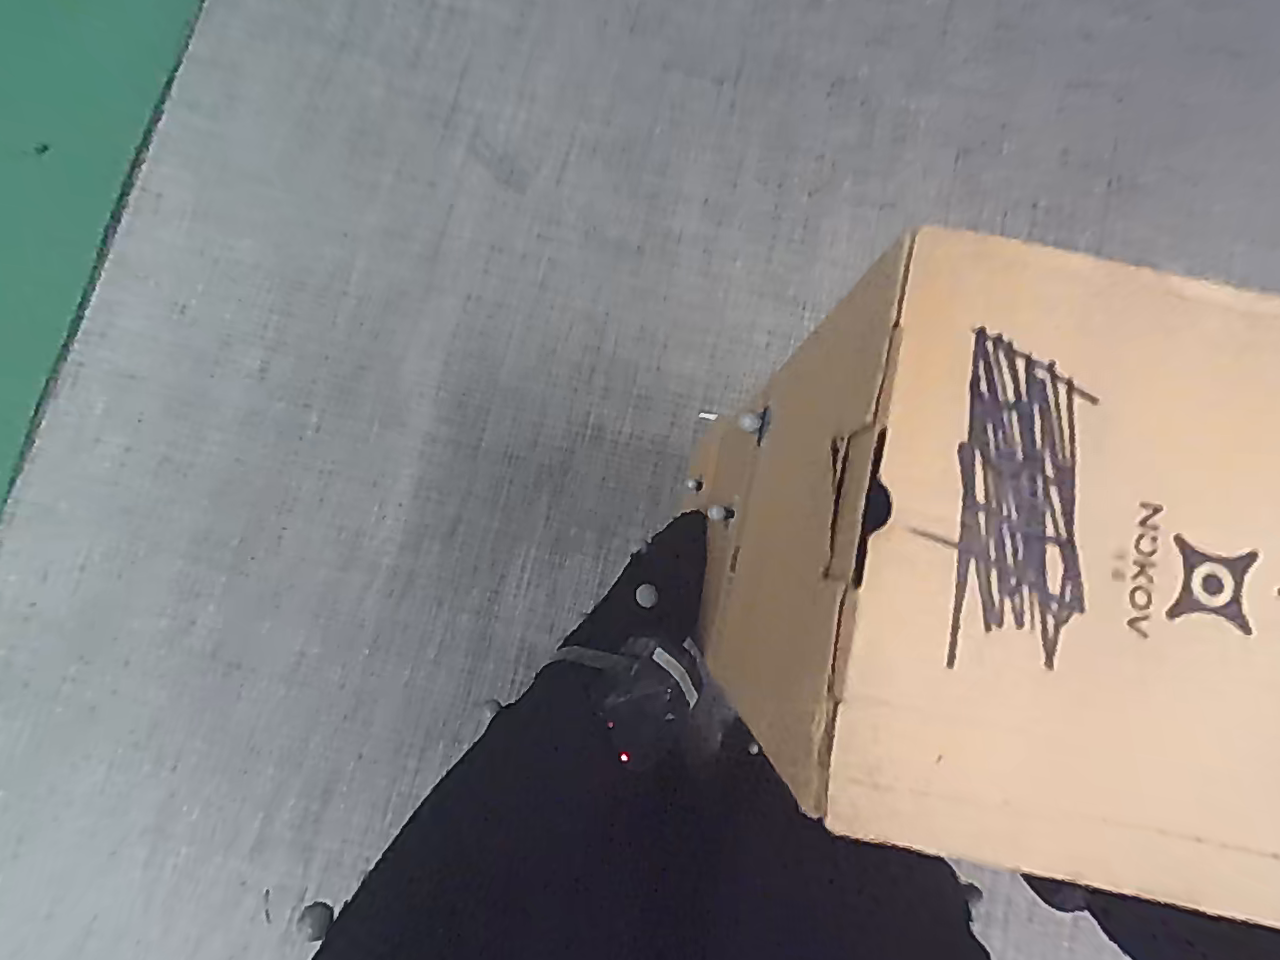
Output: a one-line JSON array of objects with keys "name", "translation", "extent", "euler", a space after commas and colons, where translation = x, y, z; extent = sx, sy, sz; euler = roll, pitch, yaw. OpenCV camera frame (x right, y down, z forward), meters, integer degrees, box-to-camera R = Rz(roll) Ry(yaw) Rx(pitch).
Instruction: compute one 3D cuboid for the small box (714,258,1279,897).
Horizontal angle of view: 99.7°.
[{"name": "small box", "translation": [0.139, 0.034, 0.241], "extent": [0.179, 0.176, 0.168], "euler": [12, 84, 0]}]
